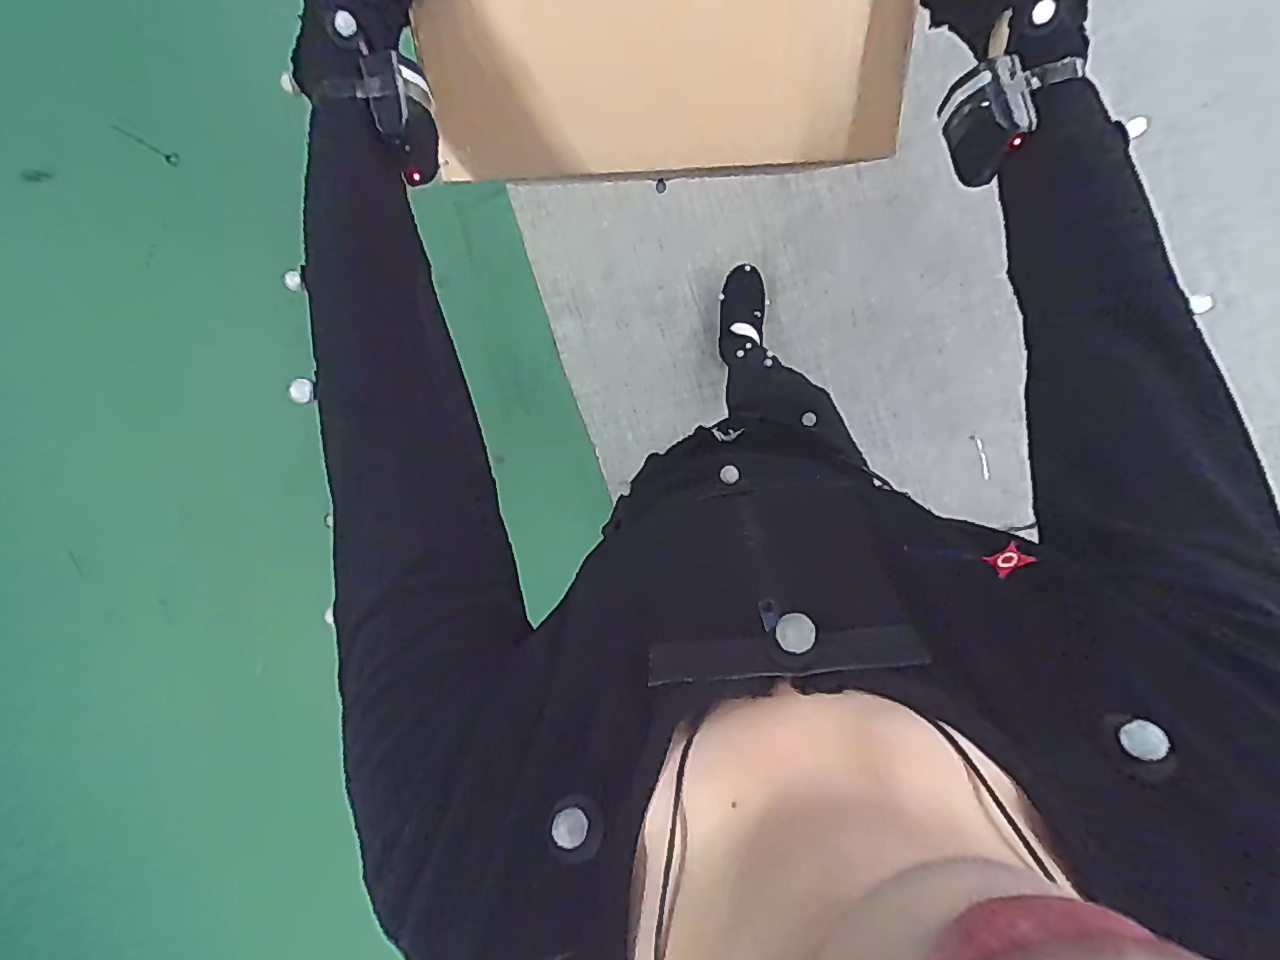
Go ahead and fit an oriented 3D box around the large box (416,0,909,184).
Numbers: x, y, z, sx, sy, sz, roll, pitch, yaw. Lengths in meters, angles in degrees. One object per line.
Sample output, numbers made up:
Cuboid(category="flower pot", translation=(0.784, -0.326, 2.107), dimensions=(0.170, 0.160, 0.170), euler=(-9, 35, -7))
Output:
Cuboid(category="large box", translation=(0.019, -0.489, 0.547), dimensions=(0.408, 0.320, 0.320), euler=(-2, 116, 2))
